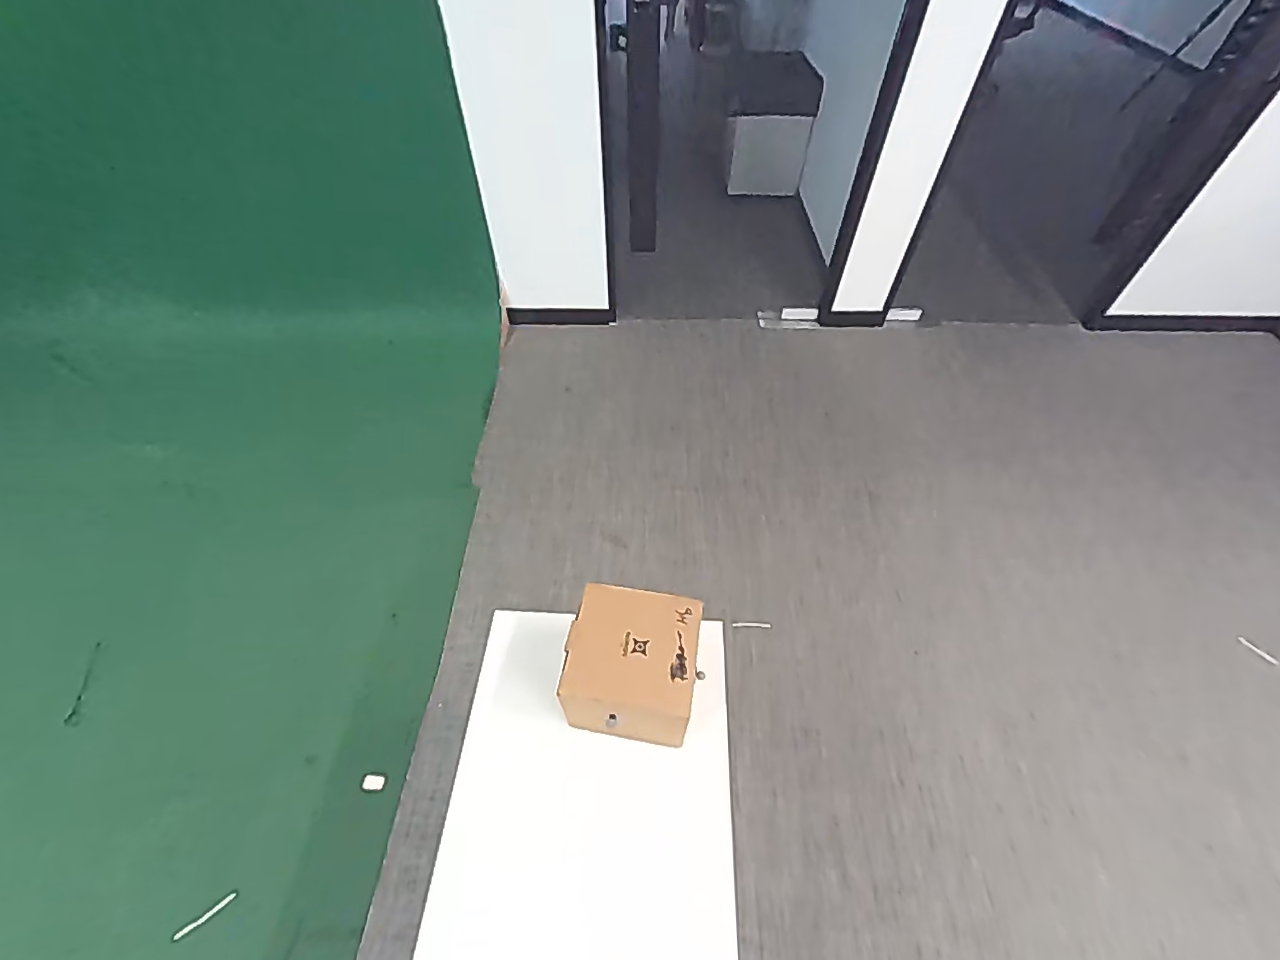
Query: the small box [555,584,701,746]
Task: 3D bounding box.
[{"bbox_3d":[-0.011,0.276,0.797,0.179,0.176,0.168,8,52,7],"label":"small box"}]
